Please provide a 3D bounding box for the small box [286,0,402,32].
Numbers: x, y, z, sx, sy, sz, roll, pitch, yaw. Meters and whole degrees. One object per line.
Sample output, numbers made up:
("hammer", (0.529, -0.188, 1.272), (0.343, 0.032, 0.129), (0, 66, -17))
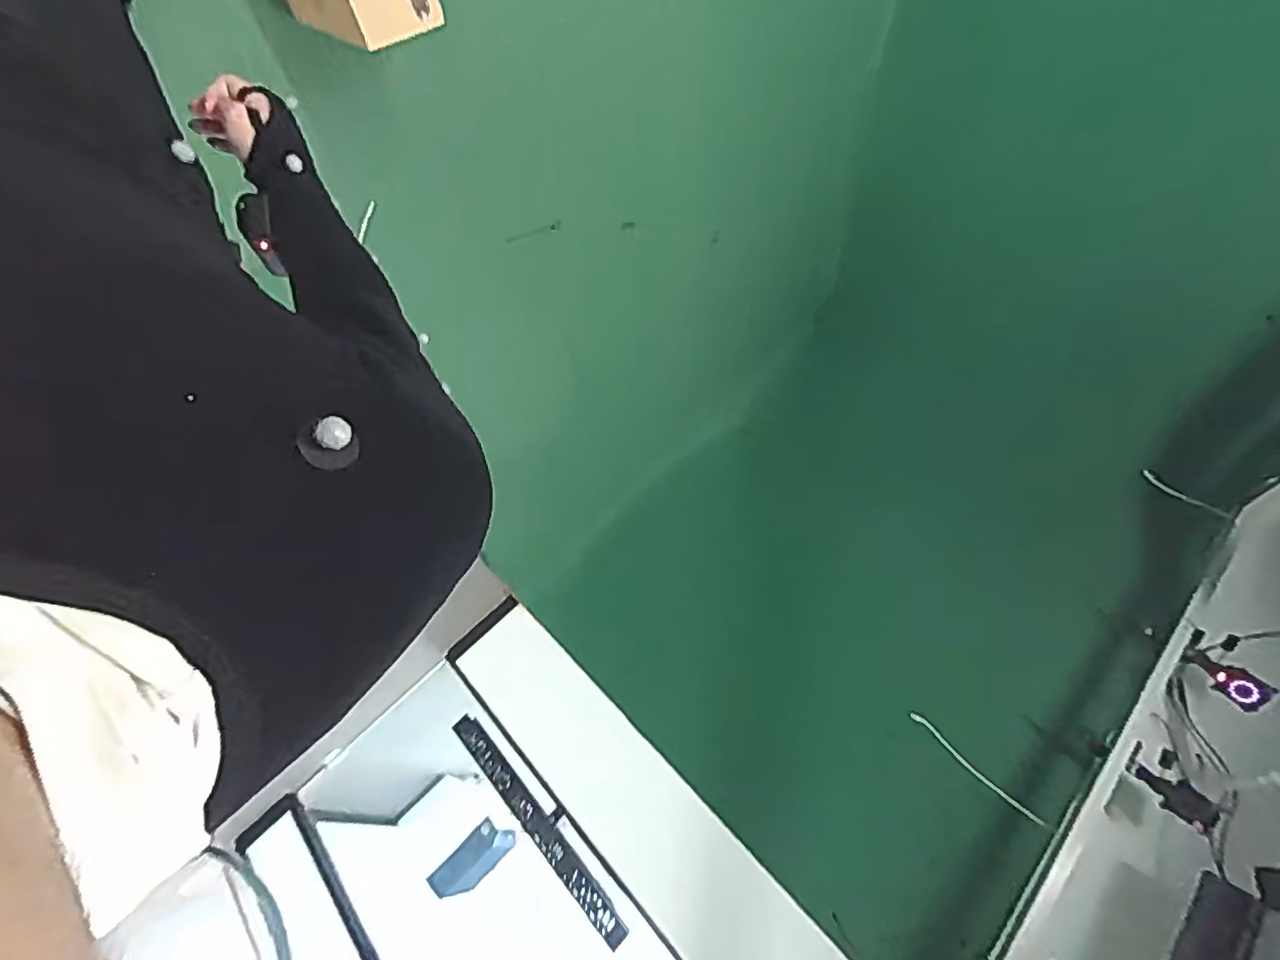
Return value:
("small box", (-0.628, -1.046, 1.091), (0.179, 0.176, 0.168), (-40, 150, -21))
